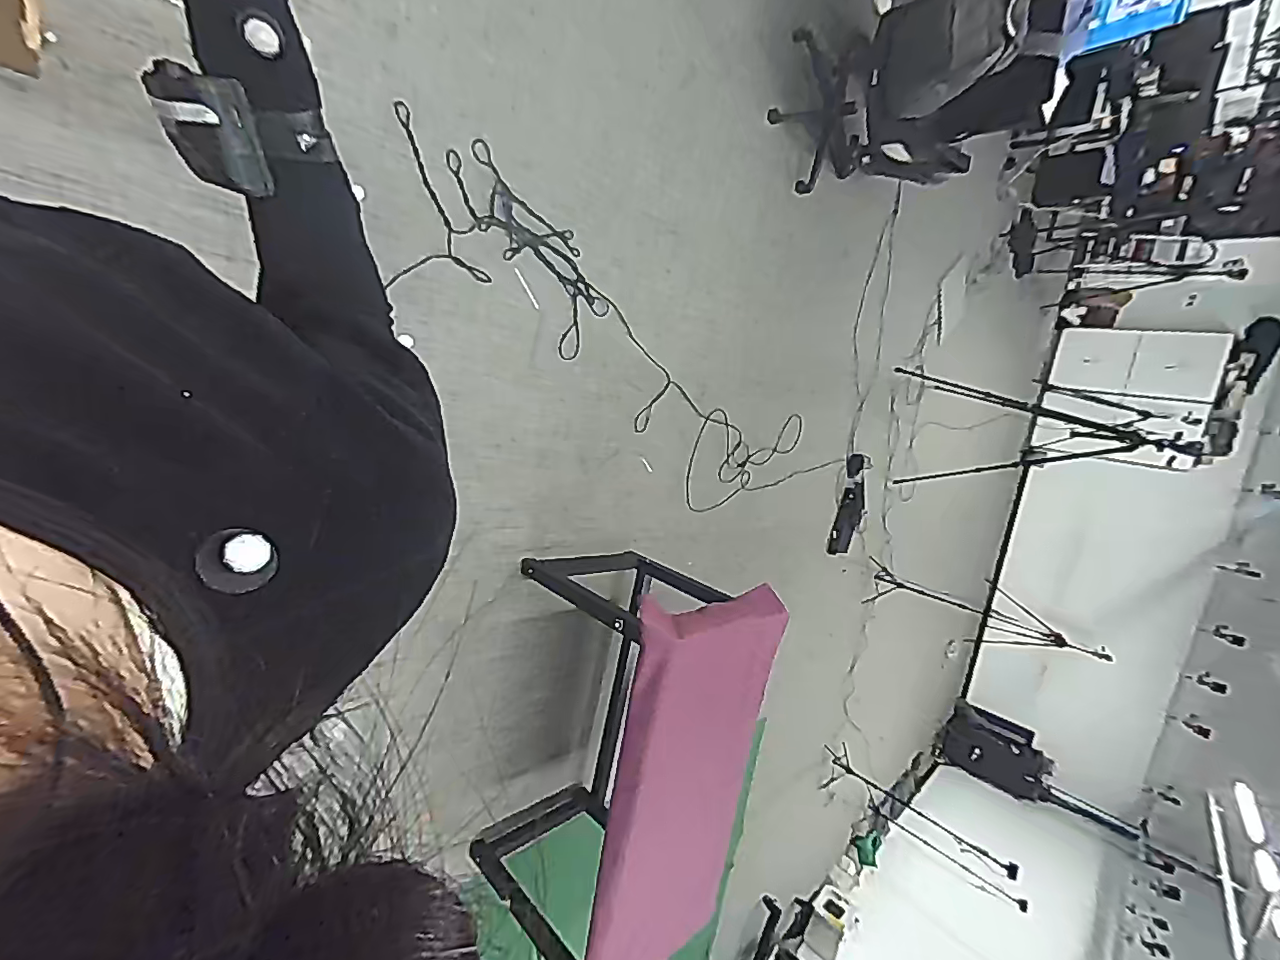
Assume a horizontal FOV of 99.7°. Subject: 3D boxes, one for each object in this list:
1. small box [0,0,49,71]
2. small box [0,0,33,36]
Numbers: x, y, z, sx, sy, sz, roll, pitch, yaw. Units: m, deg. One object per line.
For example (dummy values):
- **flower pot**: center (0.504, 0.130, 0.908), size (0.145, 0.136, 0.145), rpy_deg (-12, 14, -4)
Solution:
- **small box**: center (-1.029, -0.765, 0.818), size (0.179, 0.176, 0.168), rpy_deg (0, 103, -46)
- **small box**: center (-0.922, -0.727, 0.699), size (0.179, 0.176, 0.168), rpy_deg (1, 104, -46)
